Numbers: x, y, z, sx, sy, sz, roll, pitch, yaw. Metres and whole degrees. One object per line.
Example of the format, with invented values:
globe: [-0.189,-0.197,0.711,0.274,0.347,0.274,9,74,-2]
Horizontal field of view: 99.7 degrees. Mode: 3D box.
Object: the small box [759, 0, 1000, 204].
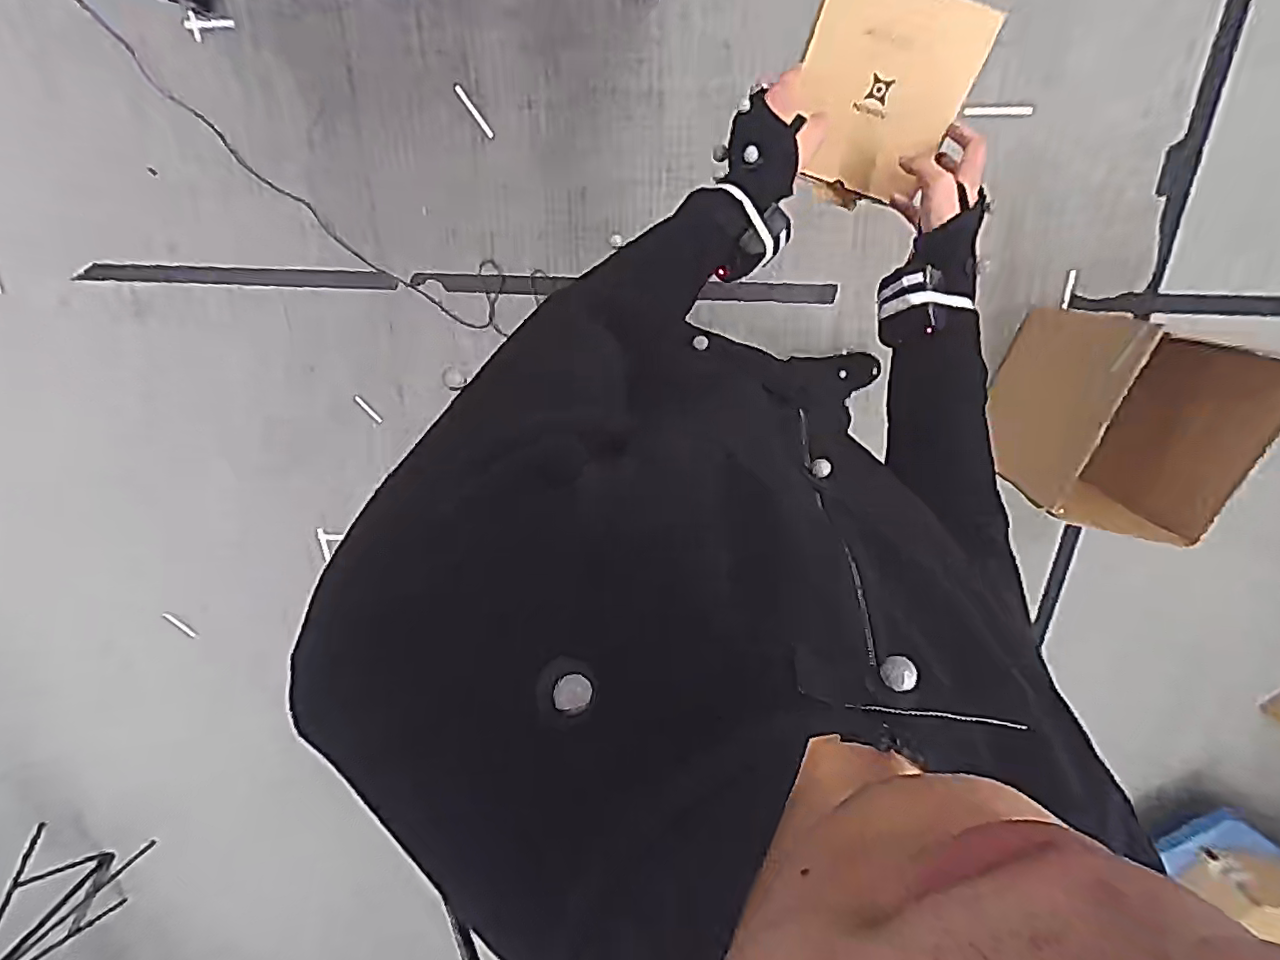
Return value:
small box: [0.242,-0.429,0.601,0.168,0.176,0.179,18,121,-1]
